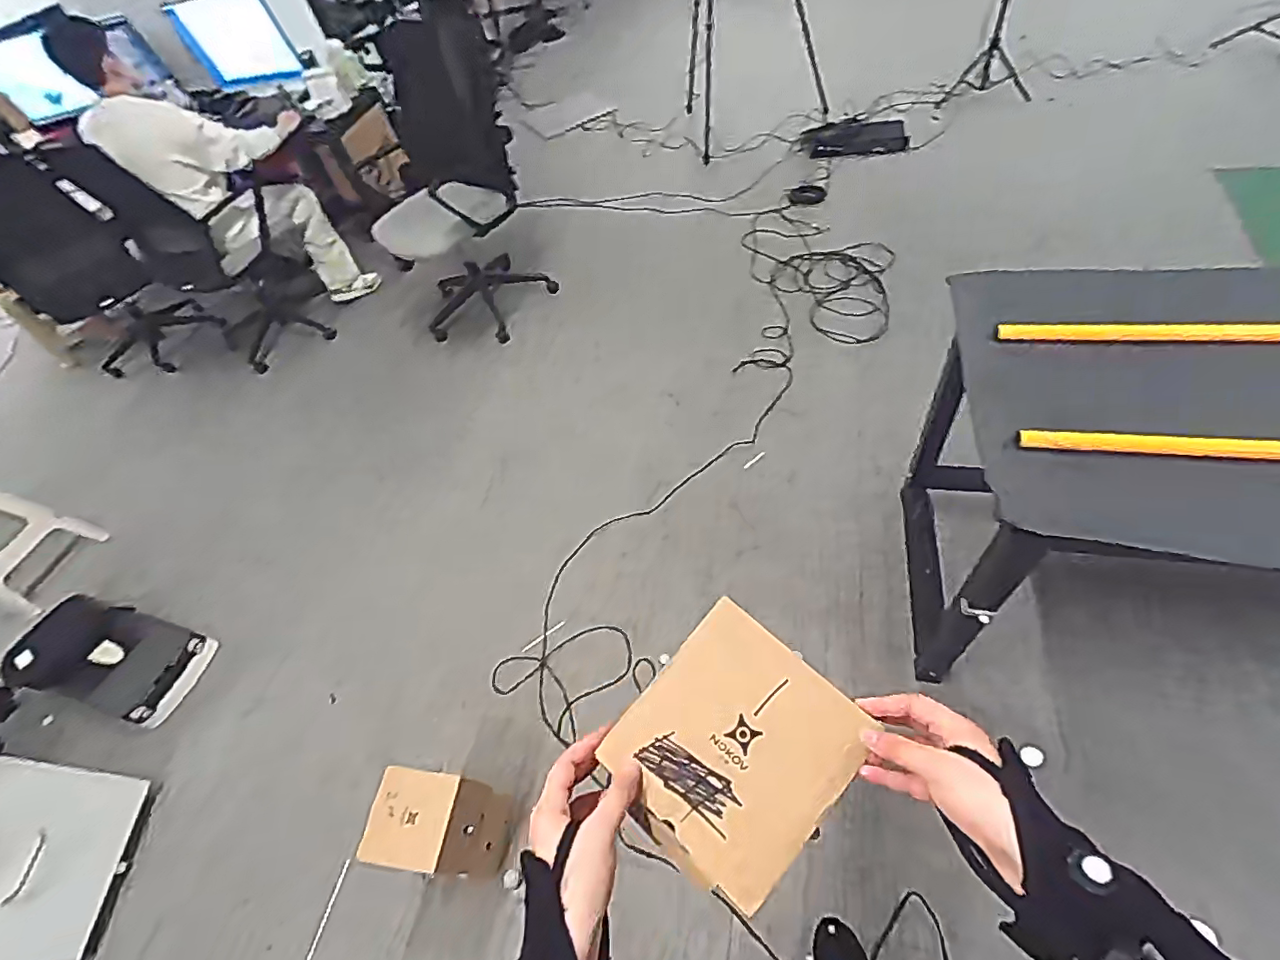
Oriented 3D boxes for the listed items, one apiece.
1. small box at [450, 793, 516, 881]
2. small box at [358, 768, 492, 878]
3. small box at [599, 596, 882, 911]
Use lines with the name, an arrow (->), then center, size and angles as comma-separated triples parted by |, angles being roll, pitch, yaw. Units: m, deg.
small box -> -0.413, 0.816, 1.260 | 0.179, 0.176, 0.168 | 1, 55, 14
small box -> -0.435, 0.716, 1.130 | 0.179, 0.176, 0.168 | -1, 54, 14
small box -> 0.091, 0.241, 0.516 | 0.168, 0.176, 0.179 | 39, 78, 19
